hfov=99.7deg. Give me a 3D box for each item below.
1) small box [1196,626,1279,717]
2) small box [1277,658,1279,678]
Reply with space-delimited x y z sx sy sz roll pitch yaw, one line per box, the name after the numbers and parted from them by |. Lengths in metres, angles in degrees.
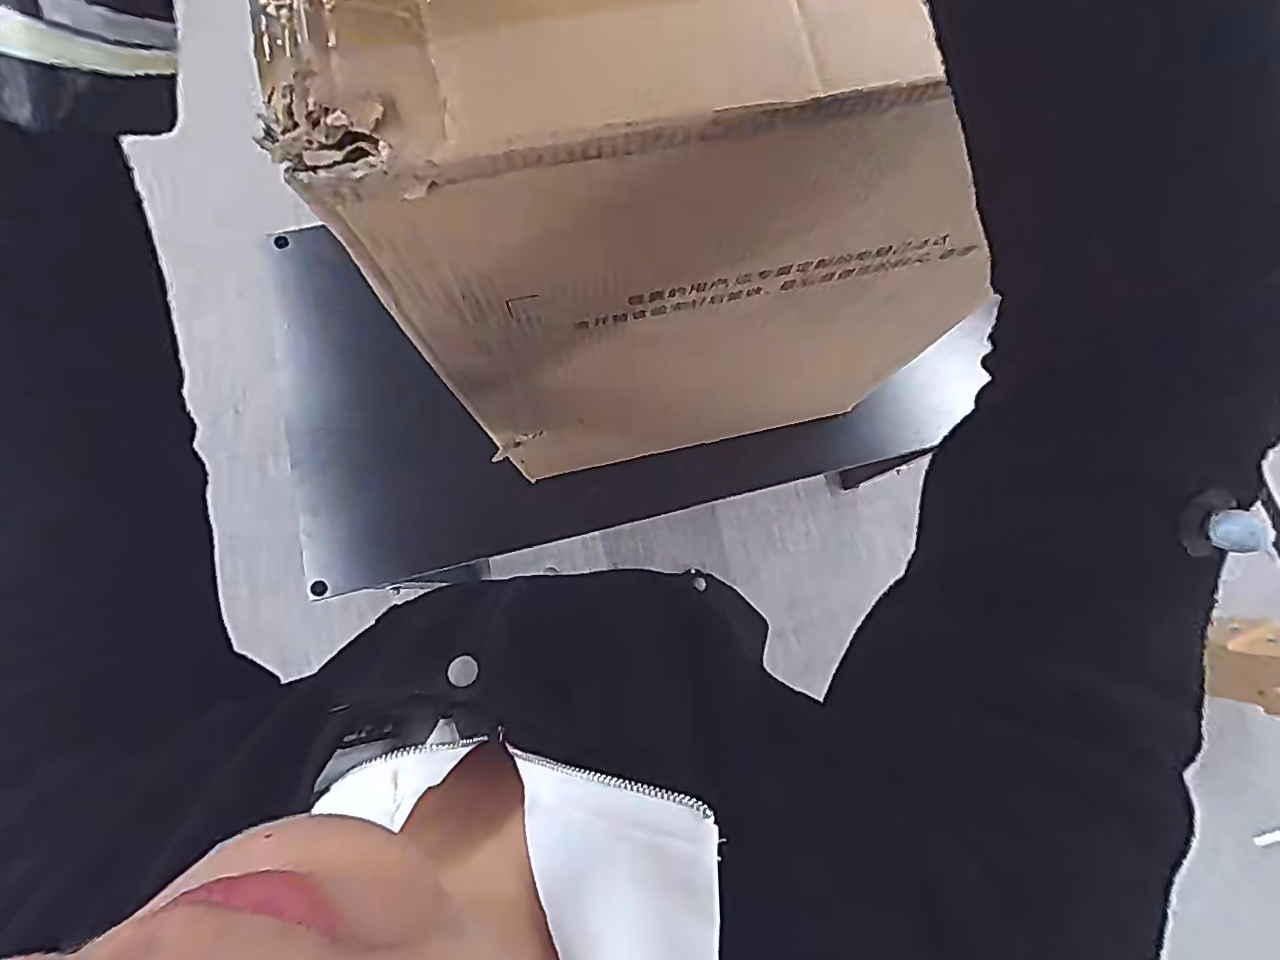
1.625 0.488 1.396 0.179 0.176 0.168 -20 80 -5 | small box
1.637 0.474 1.232 0.179 0.176 0.168 -21 80 -6 | small box
